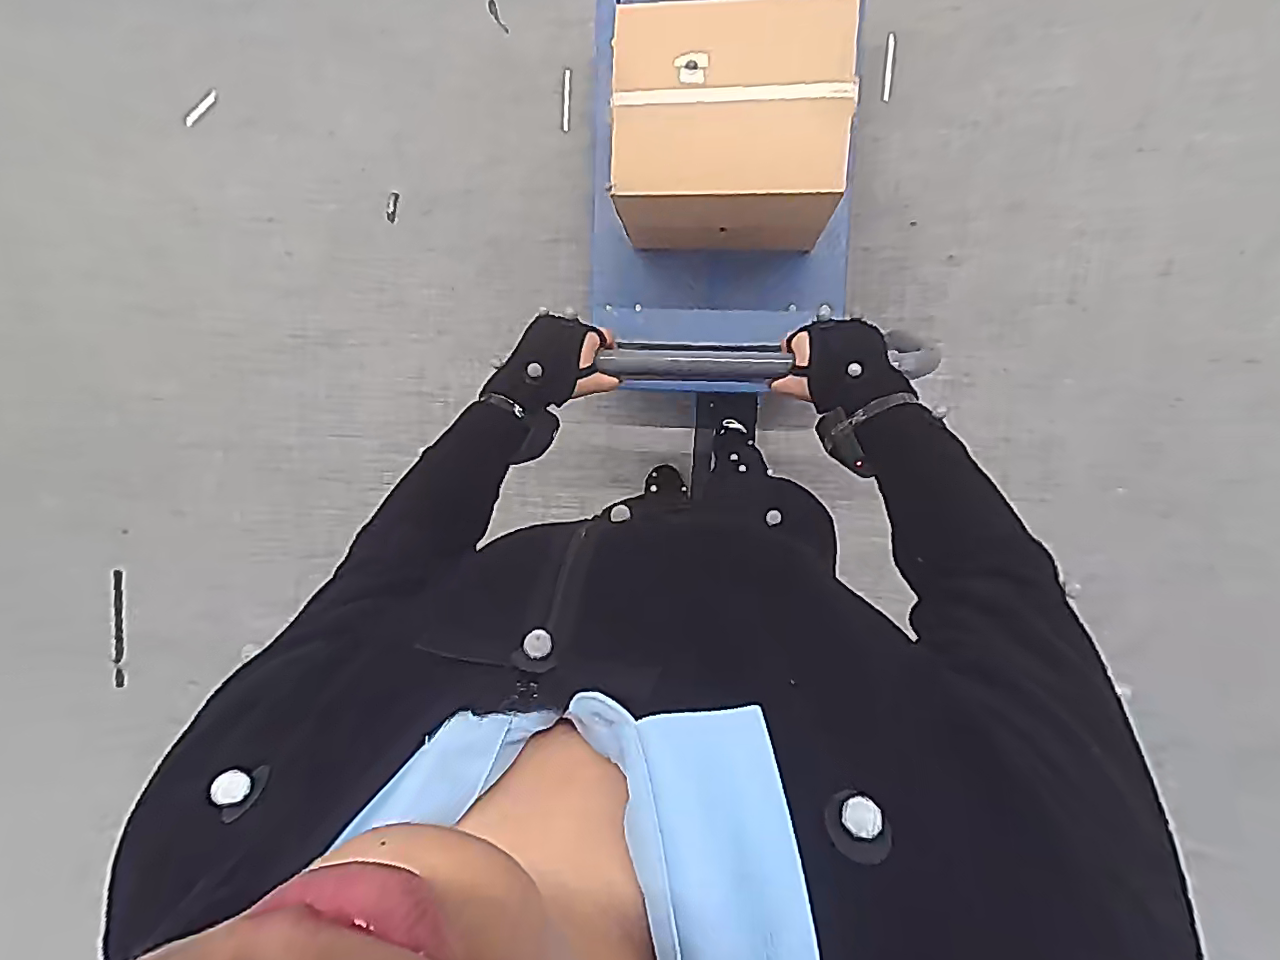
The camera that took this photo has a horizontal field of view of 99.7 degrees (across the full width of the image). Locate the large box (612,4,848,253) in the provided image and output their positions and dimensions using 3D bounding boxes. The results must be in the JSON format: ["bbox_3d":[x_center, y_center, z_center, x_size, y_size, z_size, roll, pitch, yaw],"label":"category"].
[{"bbox_3d":[0.172,-0.663,1.088,0.408,0.320,0.320,3,95,8],"label":"large box"}]
